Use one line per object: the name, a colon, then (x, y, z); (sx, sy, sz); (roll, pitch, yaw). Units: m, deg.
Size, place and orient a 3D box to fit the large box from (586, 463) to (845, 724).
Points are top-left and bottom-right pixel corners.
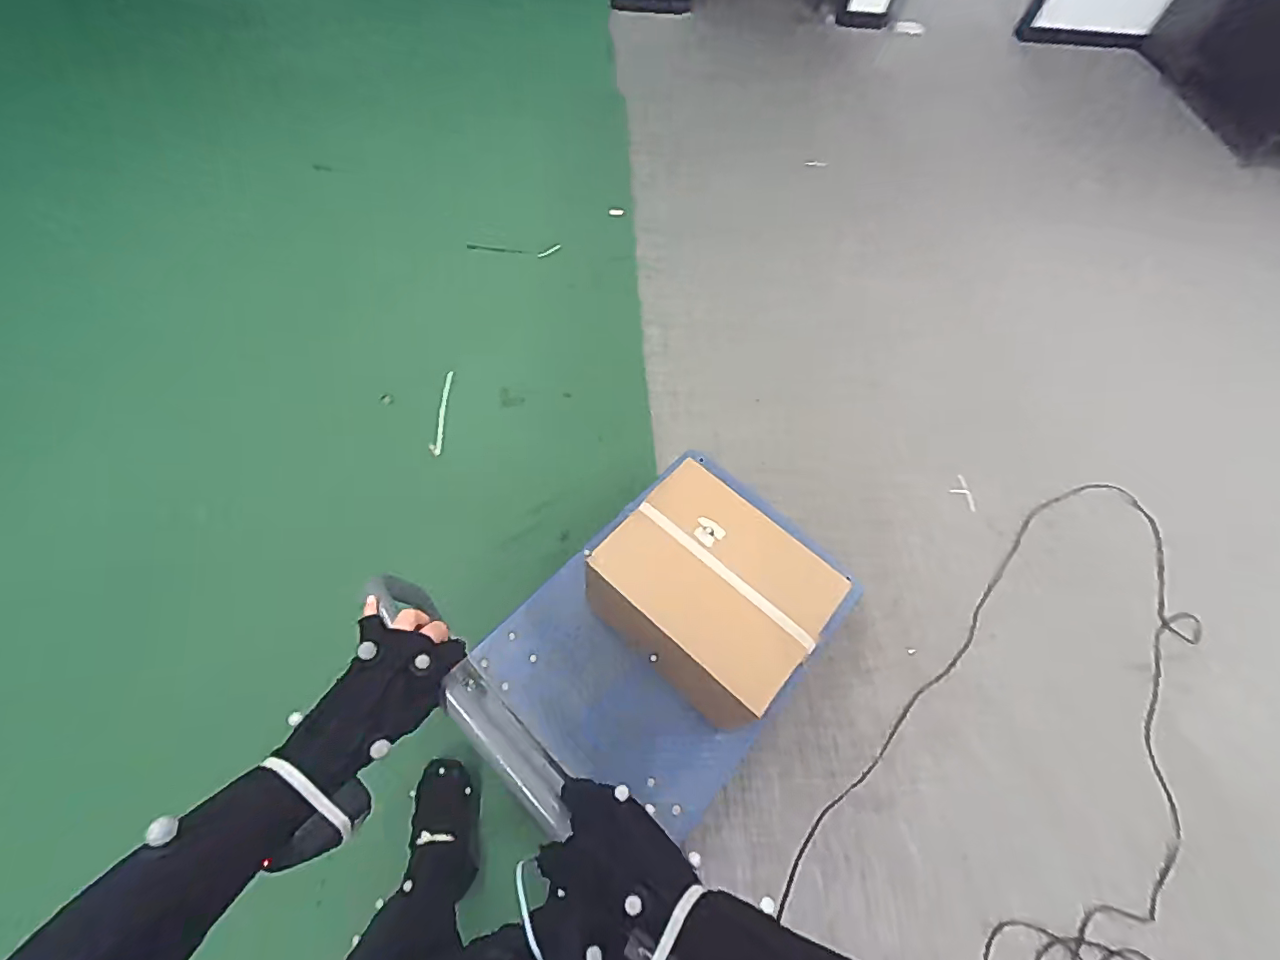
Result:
large box: (0.137, 0.248, 1.147); (0.408, 0.320, 0.320); (39, 65, 16)
